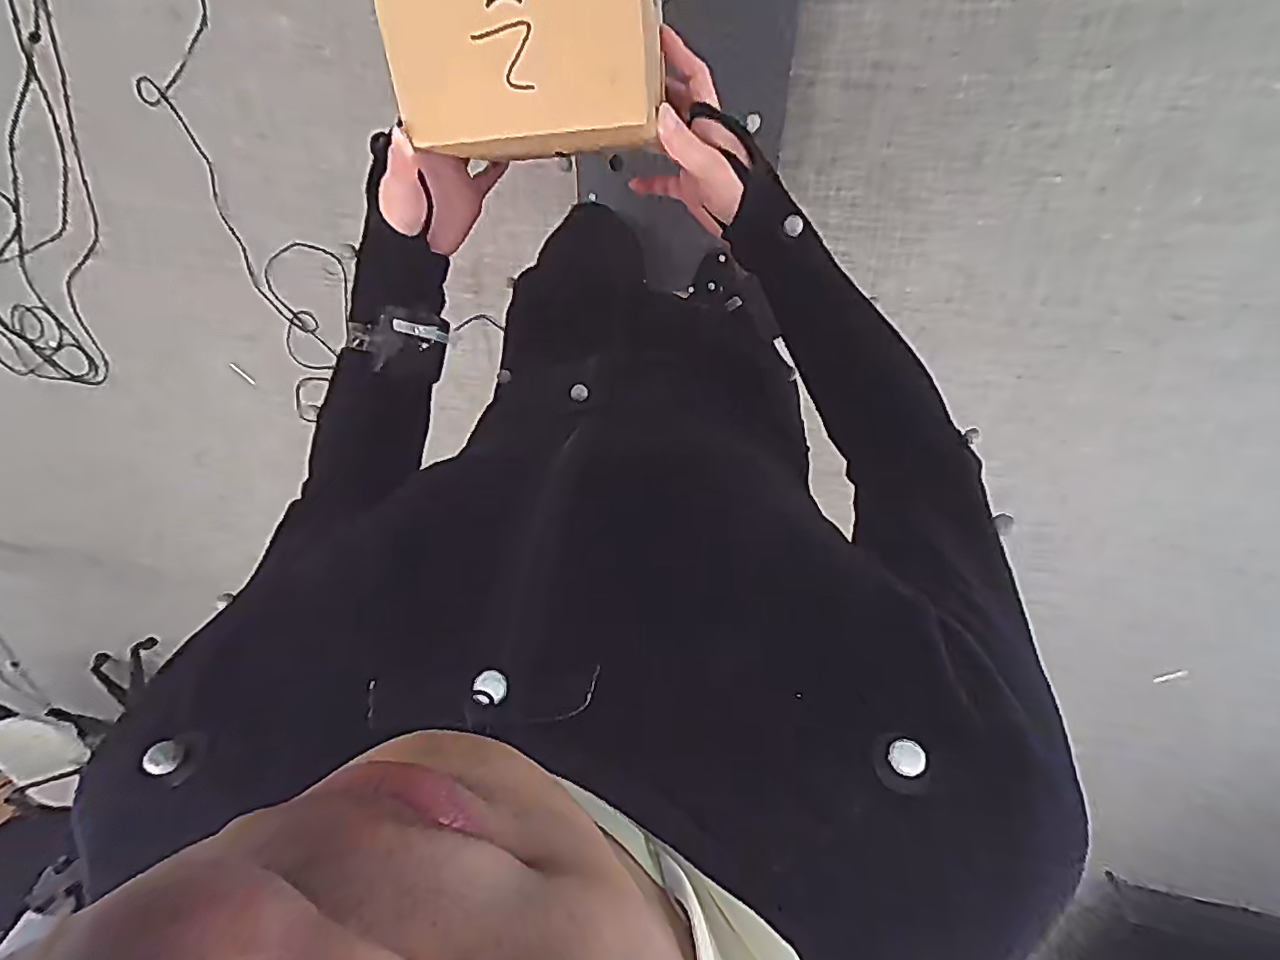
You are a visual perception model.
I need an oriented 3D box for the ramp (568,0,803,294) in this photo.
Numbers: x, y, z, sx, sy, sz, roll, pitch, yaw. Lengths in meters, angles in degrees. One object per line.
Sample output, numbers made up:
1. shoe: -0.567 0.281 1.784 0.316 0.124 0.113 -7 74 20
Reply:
1. ramp: 0.089 -0.919 1.166 0.509 0.206 0.991 5 116 8
